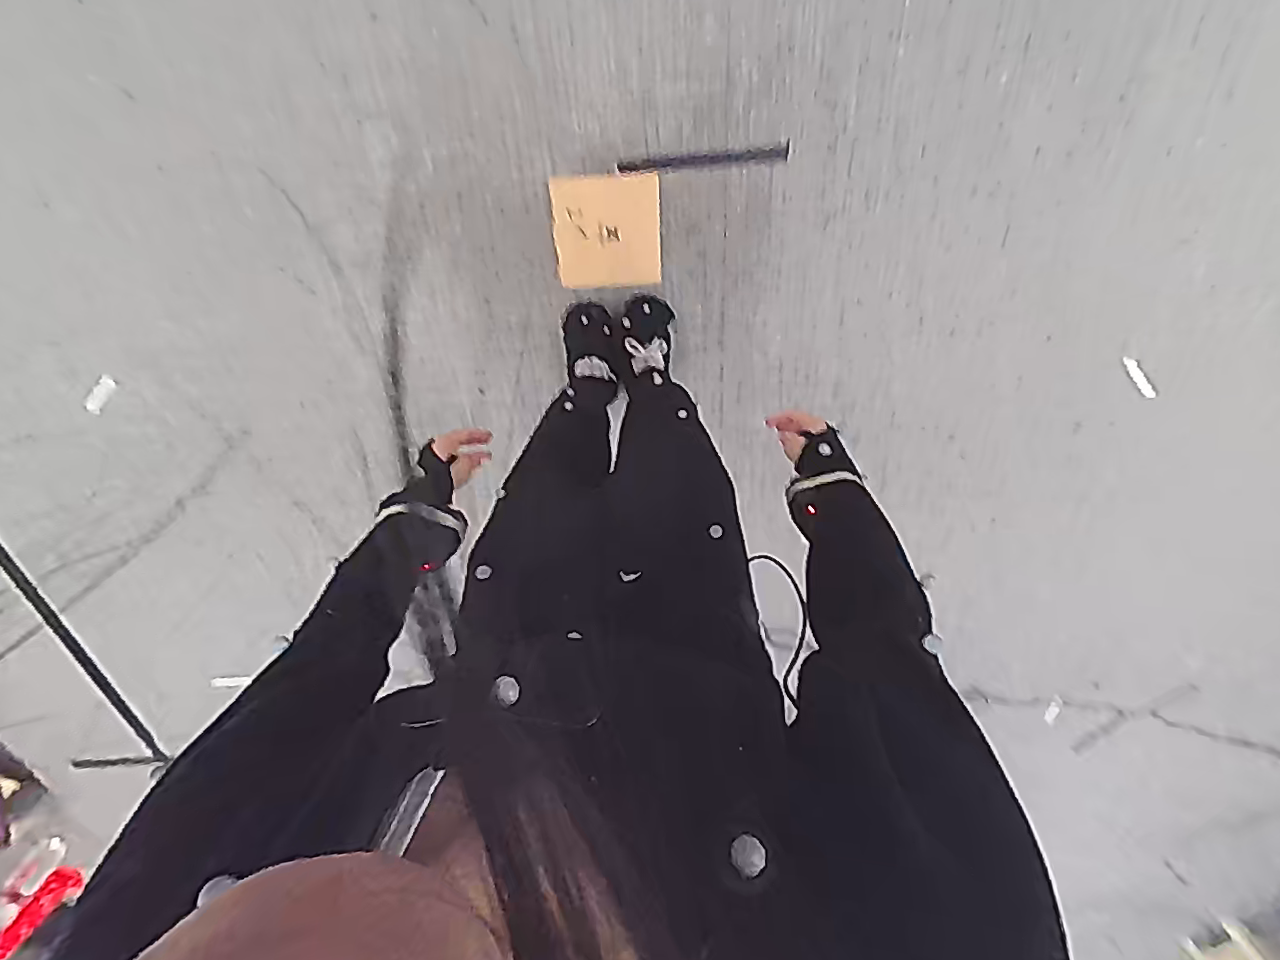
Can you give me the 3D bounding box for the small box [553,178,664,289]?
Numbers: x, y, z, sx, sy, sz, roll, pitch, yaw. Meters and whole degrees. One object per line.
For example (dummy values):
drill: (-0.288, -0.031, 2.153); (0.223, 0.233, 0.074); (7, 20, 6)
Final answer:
small box: (-0.052, -0.442, 0.962); (0.179, 0.176, 0.168); (-3, 118, 0)
